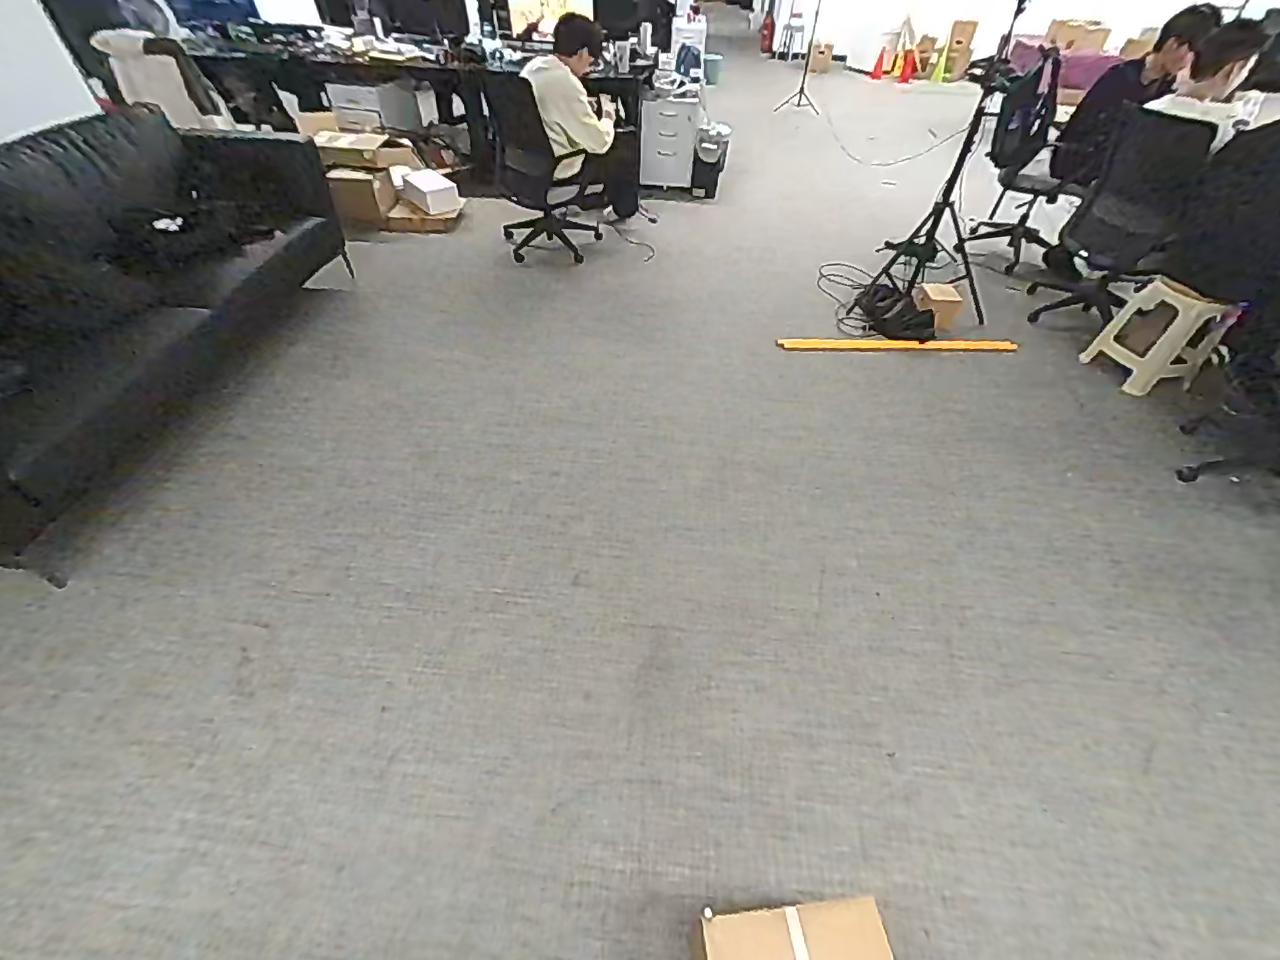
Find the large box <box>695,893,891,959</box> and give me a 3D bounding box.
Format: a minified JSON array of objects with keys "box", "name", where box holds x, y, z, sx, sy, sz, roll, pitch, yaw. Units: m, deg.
[{"box":[0.287,1.005,0.936,0.320,0.320,0.408,-4,46,-5],"name":"large box"}]
